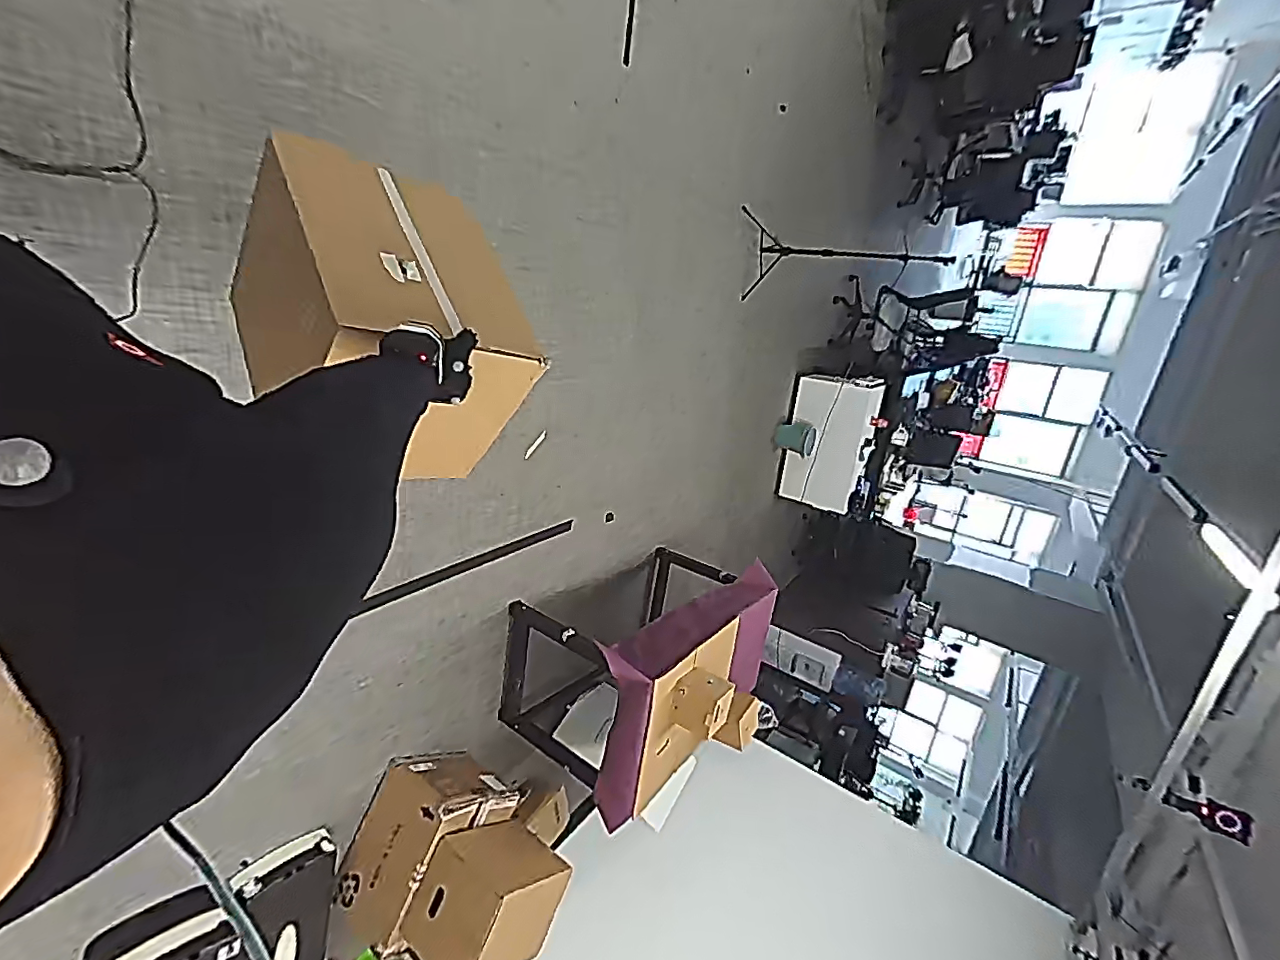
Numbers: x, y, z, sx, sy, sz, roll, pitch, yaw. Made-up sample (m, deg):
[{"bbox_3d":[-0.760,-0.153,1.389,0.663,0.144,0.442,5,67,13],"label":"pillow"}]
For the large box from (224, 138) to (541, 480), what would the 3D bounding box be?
[{"bbox_3d":[-0.441,-0.251,0.904,0.320,0.408,0.320,-4,148,-50],"label":"large box"}]
